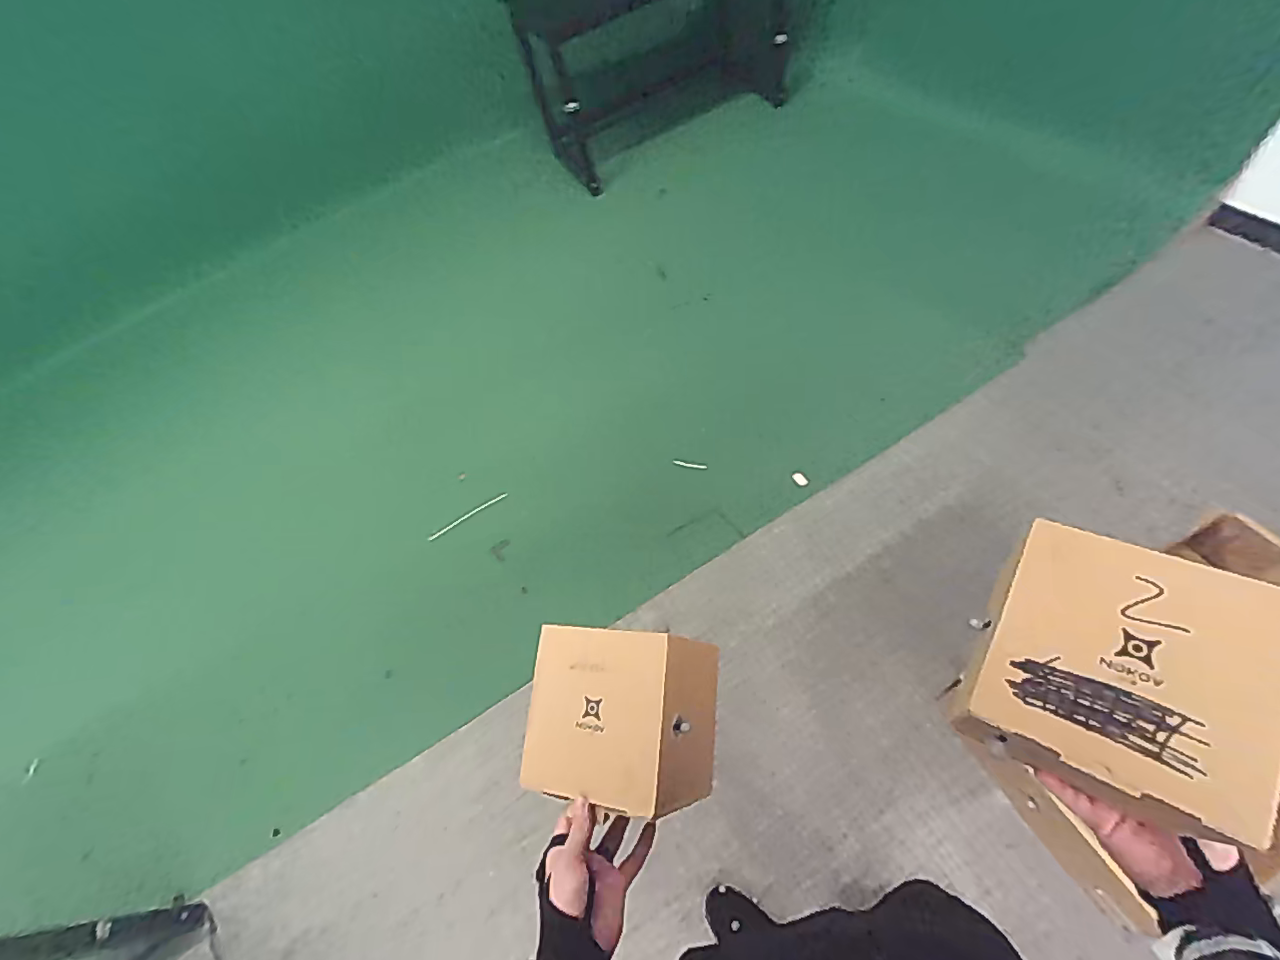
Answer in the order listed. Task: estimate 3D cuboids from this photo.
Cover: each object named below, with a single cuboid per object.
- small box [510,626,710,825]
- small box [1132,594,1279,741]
[{"bbox_3d":[-0.024,0.274,0.639,0.168,0.176,0.179,-4,69,27],"label":"small box"},{"bbox_3d":[0.987,0.305,0.893,0.179,0.176,0.168,-30,56,-5],"label":"small box"}]
